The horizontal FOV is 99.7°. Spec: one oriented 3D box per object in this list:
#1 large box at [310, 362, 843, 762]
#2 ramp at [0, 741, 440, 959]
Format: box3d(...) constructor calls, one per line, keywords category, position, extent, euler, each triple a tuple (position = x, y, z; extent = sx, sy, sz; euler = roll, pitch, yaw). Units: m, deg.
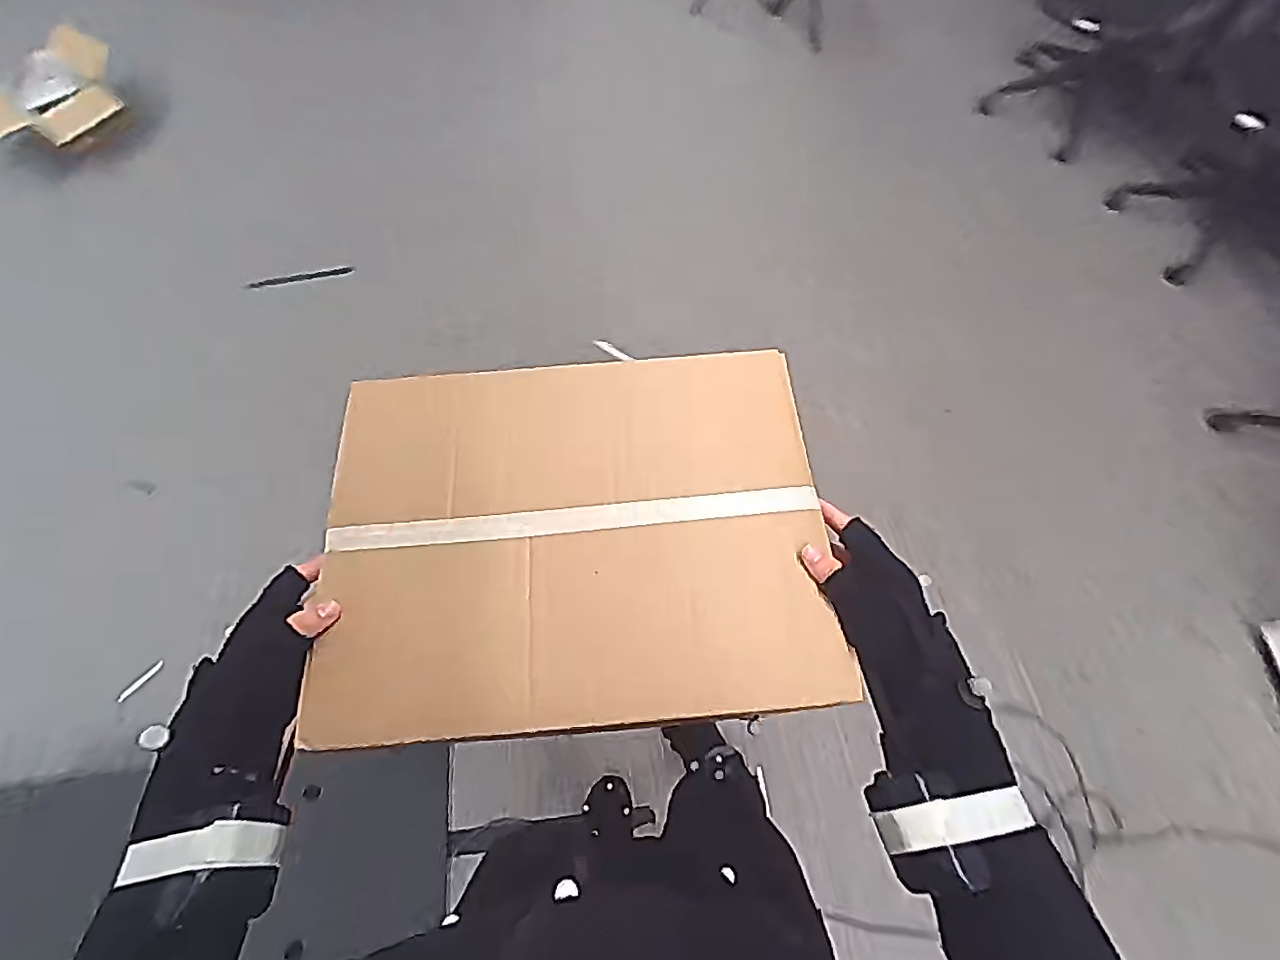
box3d(category="large box", position=(-0.057, 0.104, 0.593), extent=(0.408, 0.320, 0.320), euler=(-5, 65, -2))
box3d(category="ramp", position=(-0.947, 0.839, 1.133), extent=(0.991, 0.206, 0.509), euler=(-8, 64, -2))
